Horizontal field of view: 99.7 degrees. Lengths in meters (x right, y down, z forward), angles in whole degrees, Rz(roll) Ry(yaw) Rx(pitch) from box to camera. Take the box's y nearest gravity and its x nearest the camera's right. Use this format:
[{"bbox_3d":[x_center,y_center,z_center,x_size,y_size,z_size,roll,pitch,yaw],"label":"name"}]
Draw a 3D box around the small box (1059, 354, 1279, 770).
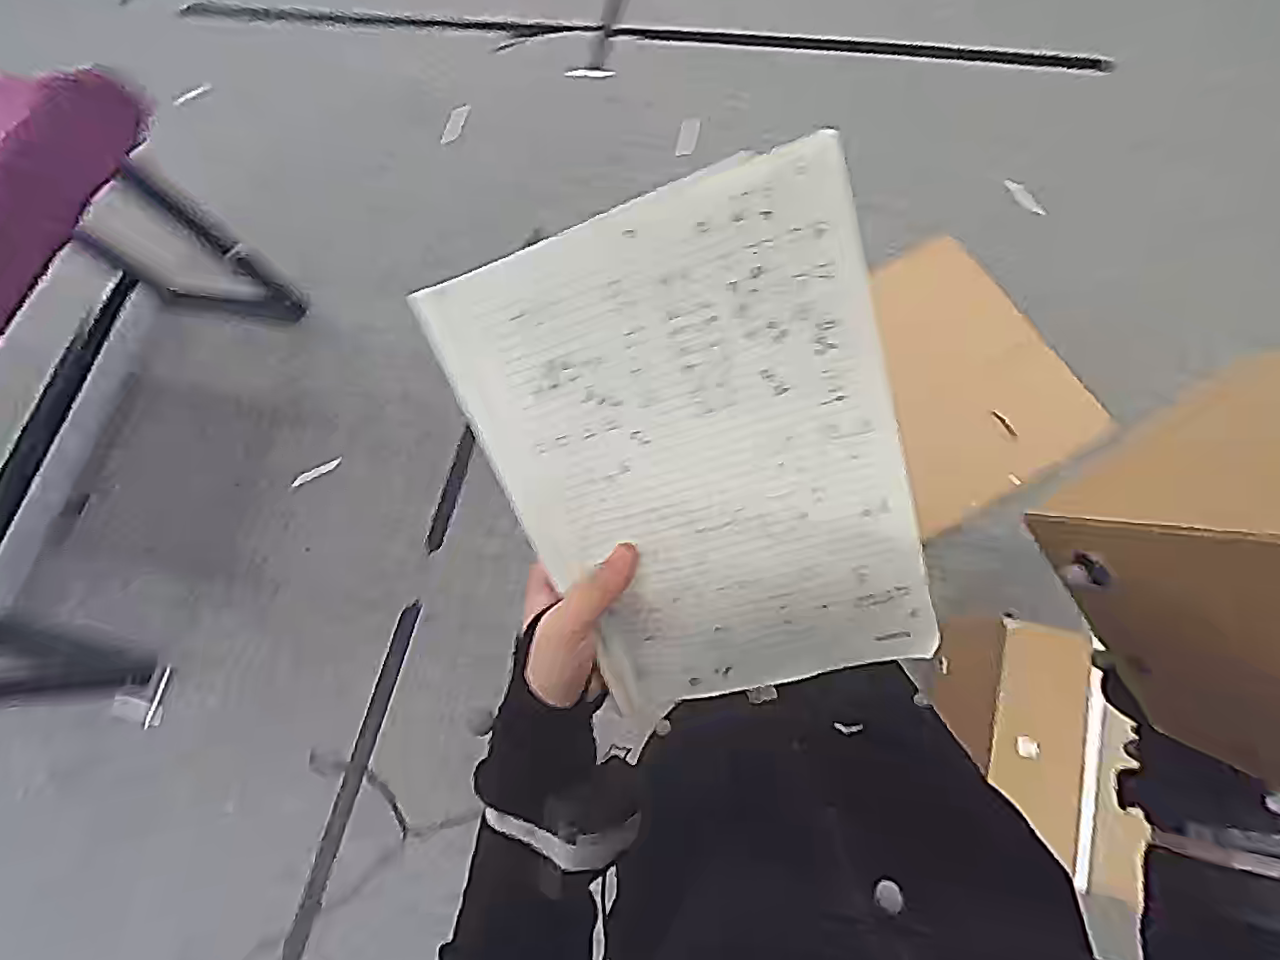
[{"bbox_3d":[0.350,0.039,0.252,0.179,0.176,0.168,-35,93,-3],"label":"small box"}]
